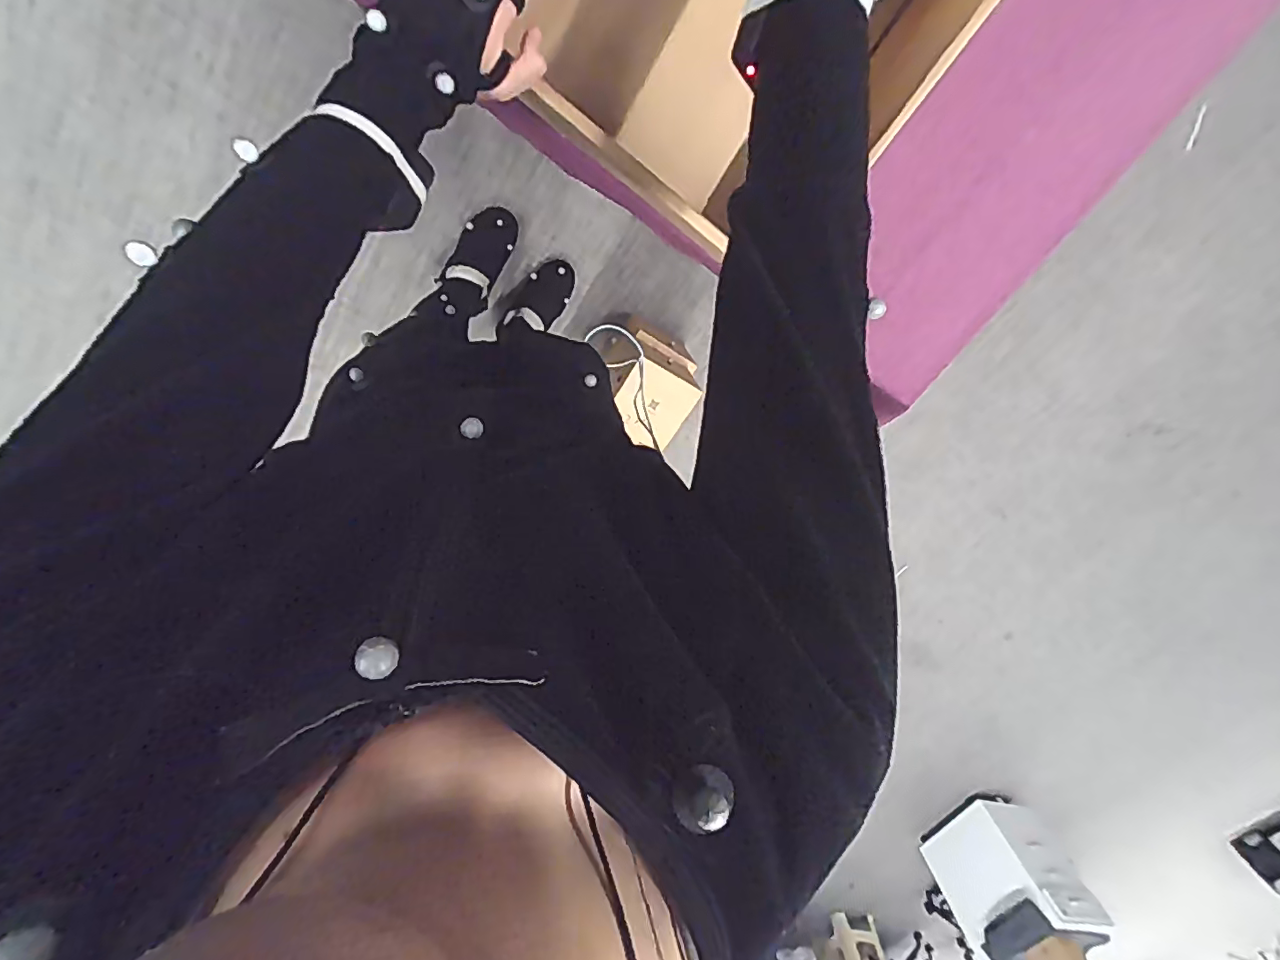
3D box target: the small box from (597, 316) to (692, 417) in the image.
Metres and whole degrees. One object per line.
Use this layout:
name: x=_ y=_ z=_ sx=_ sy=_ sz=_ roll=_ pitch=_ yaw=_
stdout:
small box: x=0.006 y=-0.297 z=1.388 sx=0.179 sy=0.176 sz=0.168 roll=28 pitch=113 yaw=-22
